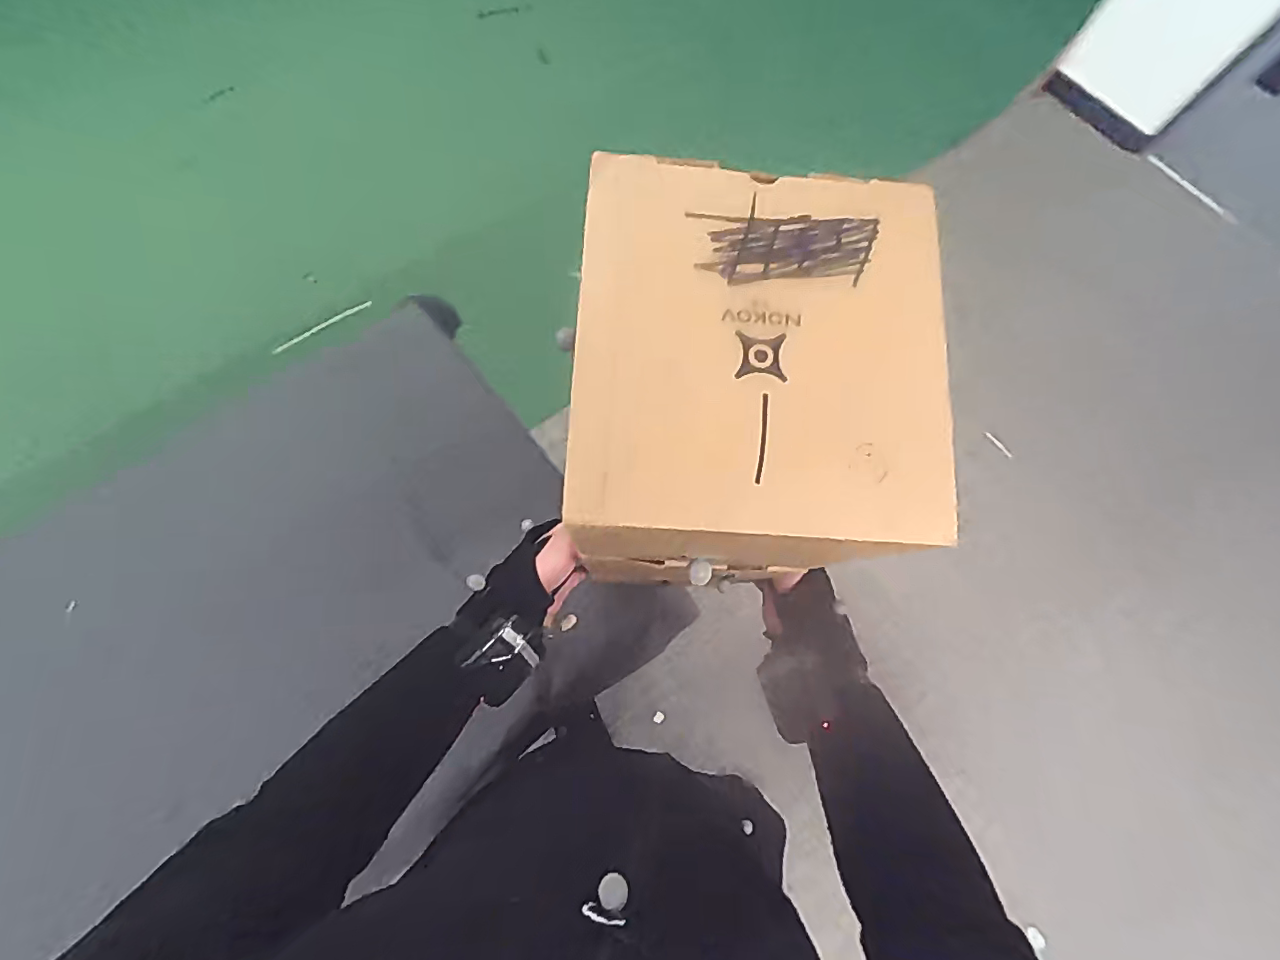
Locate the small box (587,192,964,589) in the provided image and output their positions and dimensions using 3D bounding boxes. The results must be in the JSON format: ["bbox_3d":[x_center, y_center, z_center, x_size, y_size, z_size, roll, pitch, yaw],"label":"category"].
[{"bbox_3d":[0.058,-0.030,0.323,0.168,0.176,0.179,5,78,-3],"label":"small box"}]
